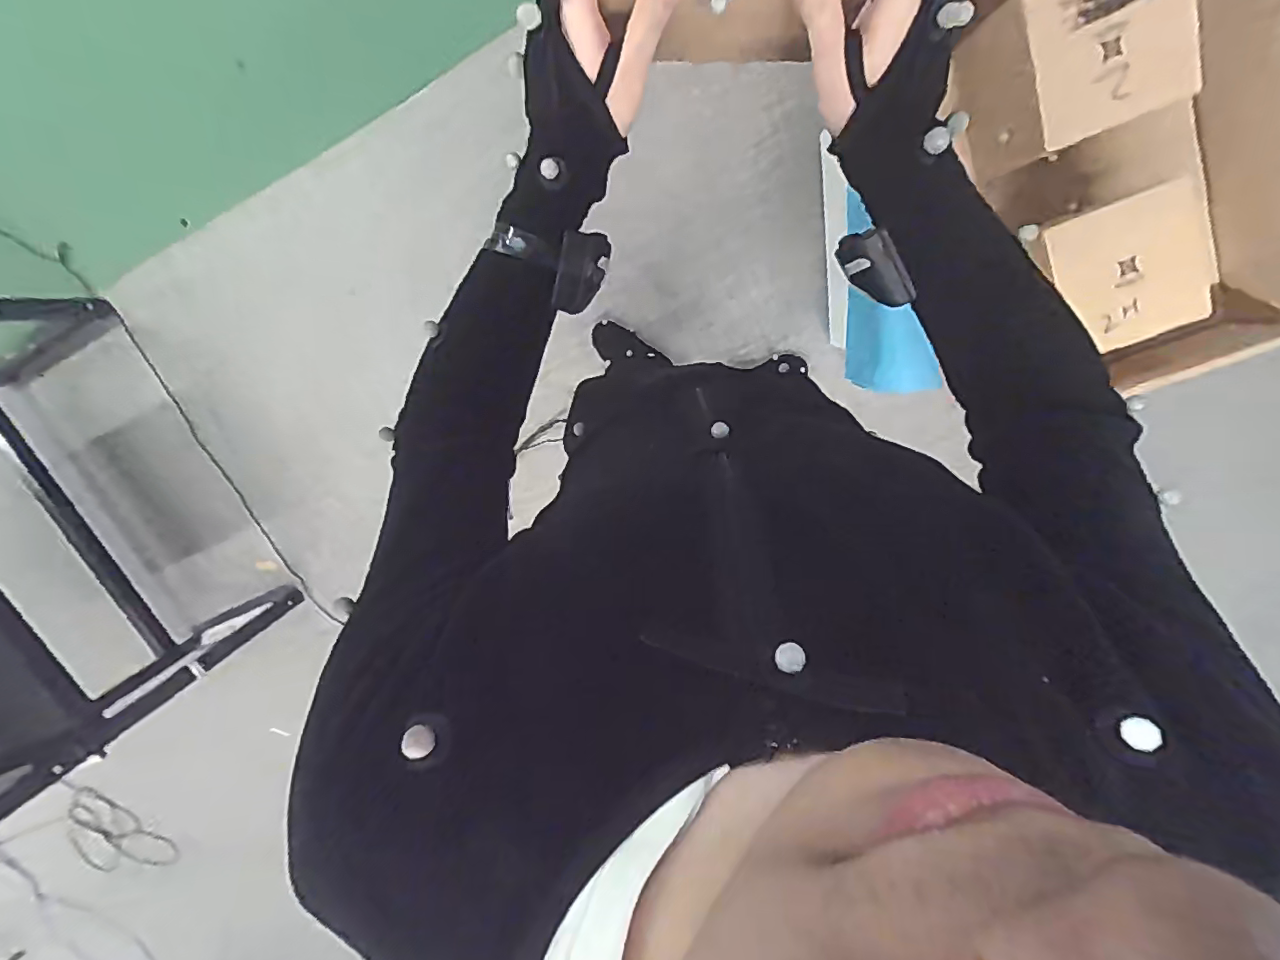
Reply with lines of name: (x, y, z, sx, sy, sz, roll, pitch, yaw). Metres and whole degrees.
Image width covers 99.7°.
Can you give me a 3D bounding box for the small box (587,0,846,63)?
small box: (0.052, -0.382, 0.319, 0.179, 0.176, 0.168, 3, 103, 5)
